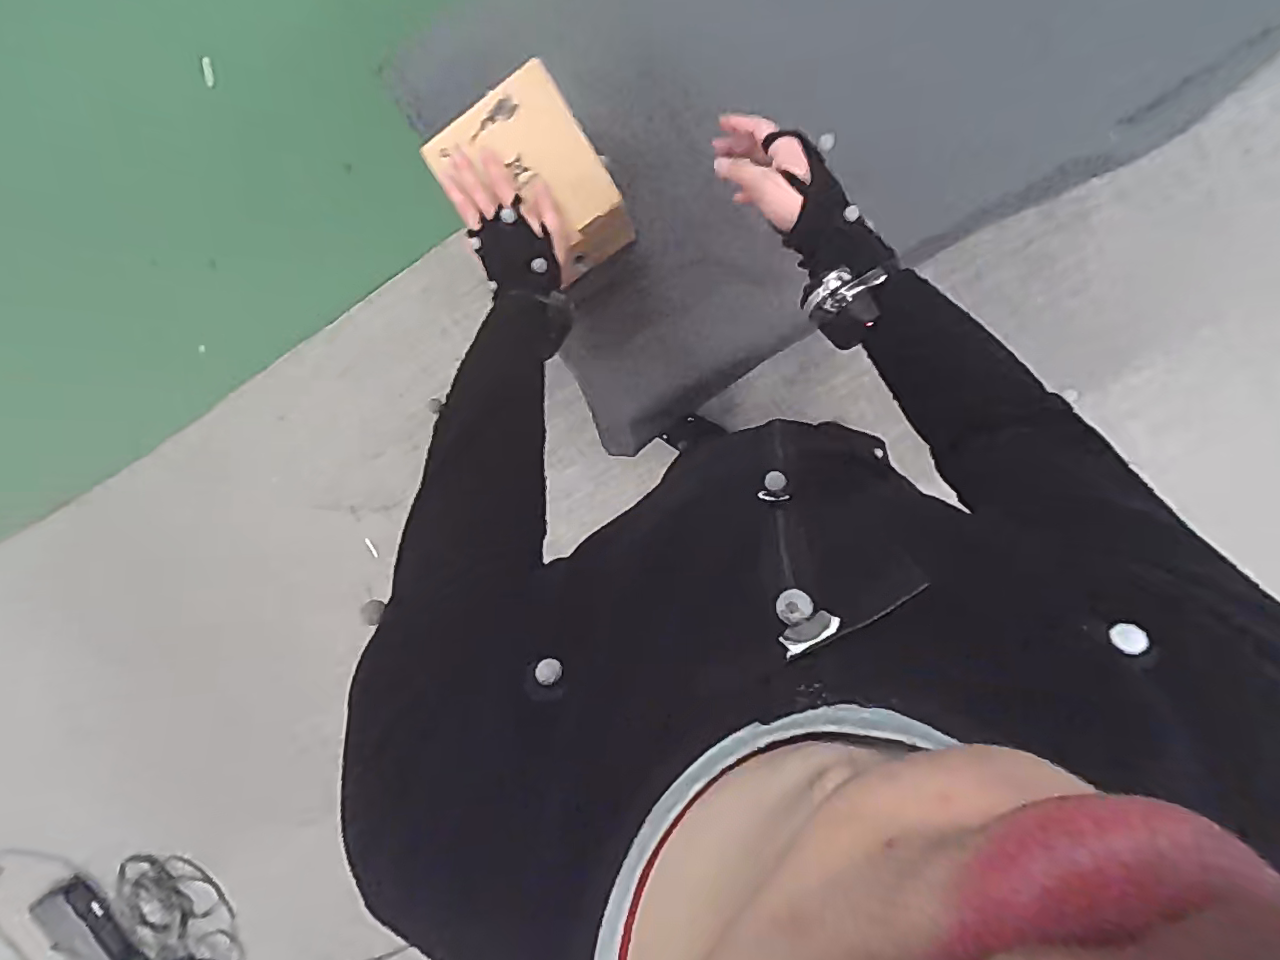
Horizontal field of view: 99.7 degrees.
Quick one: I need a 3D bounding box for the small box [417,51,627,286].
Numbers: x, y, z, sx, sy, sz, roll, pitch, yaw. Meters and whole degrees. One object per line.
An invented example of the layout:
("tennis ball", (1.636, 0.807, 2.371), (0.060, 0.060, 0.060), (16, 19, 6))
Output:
("small box", (-0.129, -0.361, 0.674), (0.168, 0.176, 0.179), (-31, 99, 9))
